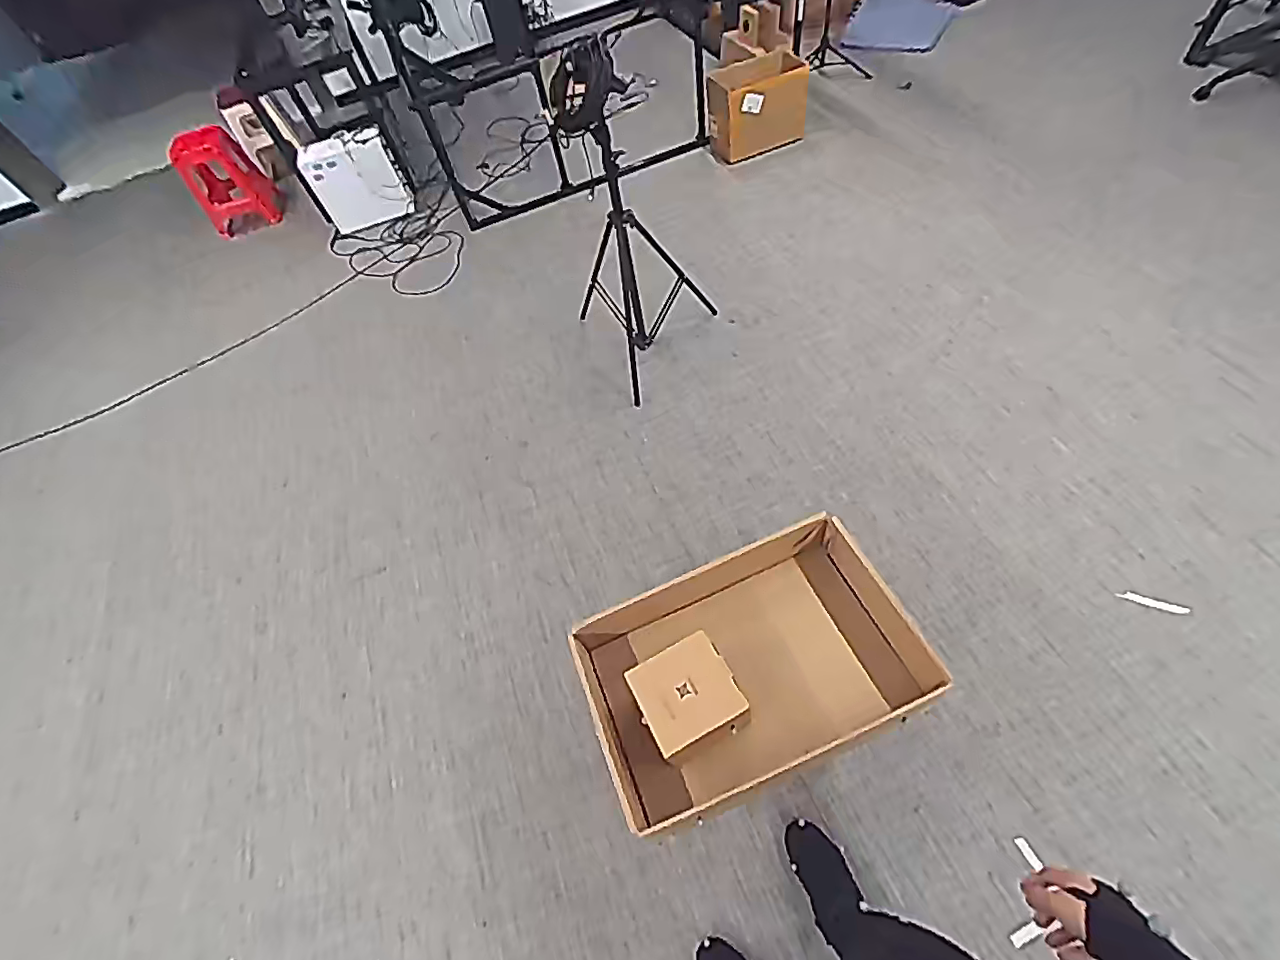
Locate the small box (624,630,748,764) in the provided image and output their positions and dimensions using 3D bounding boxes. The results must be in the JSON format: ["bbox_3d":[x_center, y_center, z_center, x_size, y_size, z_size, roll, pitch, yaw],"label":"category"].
[{"bbox_3d":[0.092,0.423,1.046,0.179,0.176,0.168,-27,56,-7],"label":"small box"}]
